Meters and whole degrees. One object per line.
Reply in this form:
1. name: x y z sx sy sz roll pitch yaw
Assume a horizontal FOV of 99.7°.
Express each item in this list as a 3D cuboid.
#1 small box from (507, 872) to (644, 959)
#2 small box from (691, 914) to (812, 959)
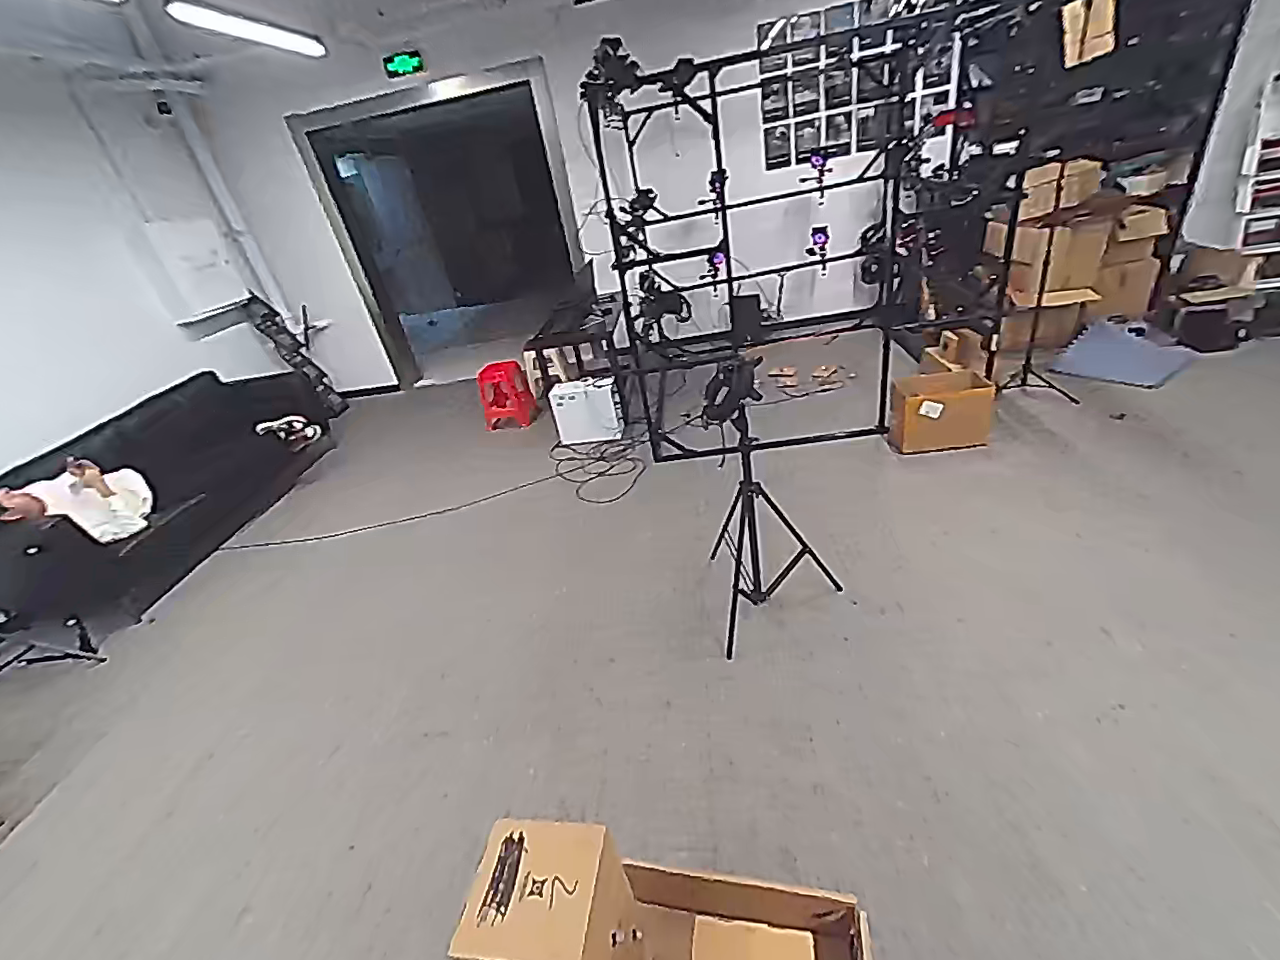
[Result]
1. small box: -0.095 0.745 0.830 0.168 0.176 0.179 -6 30 13
2. small box: 0.157 0.747 0.741 0.168 0.176 0.179 -3 30 15
